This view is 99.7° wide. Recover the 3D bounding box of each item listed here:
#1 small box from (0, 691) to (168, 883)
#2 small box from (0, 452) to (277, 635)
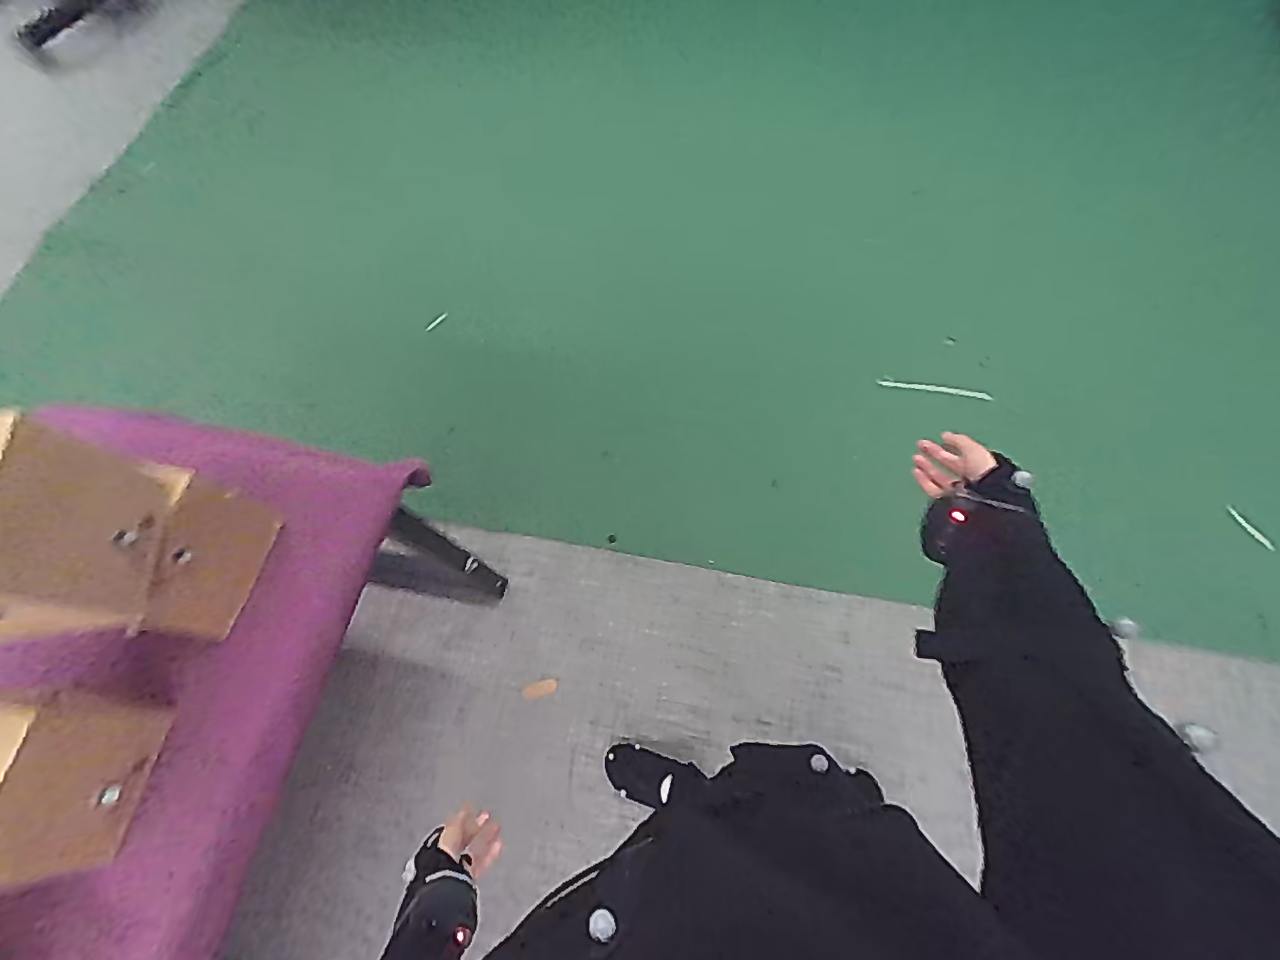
[{"bbox_3d":[-0.698,0.331,0.595,0.179,0.176,0.168,6,68,7],"label":"small box"},{"bbox_3d":[-0.619,0.089,0.692,0.168,0.176,0.179,11,68,10],"label":"small box"}]
